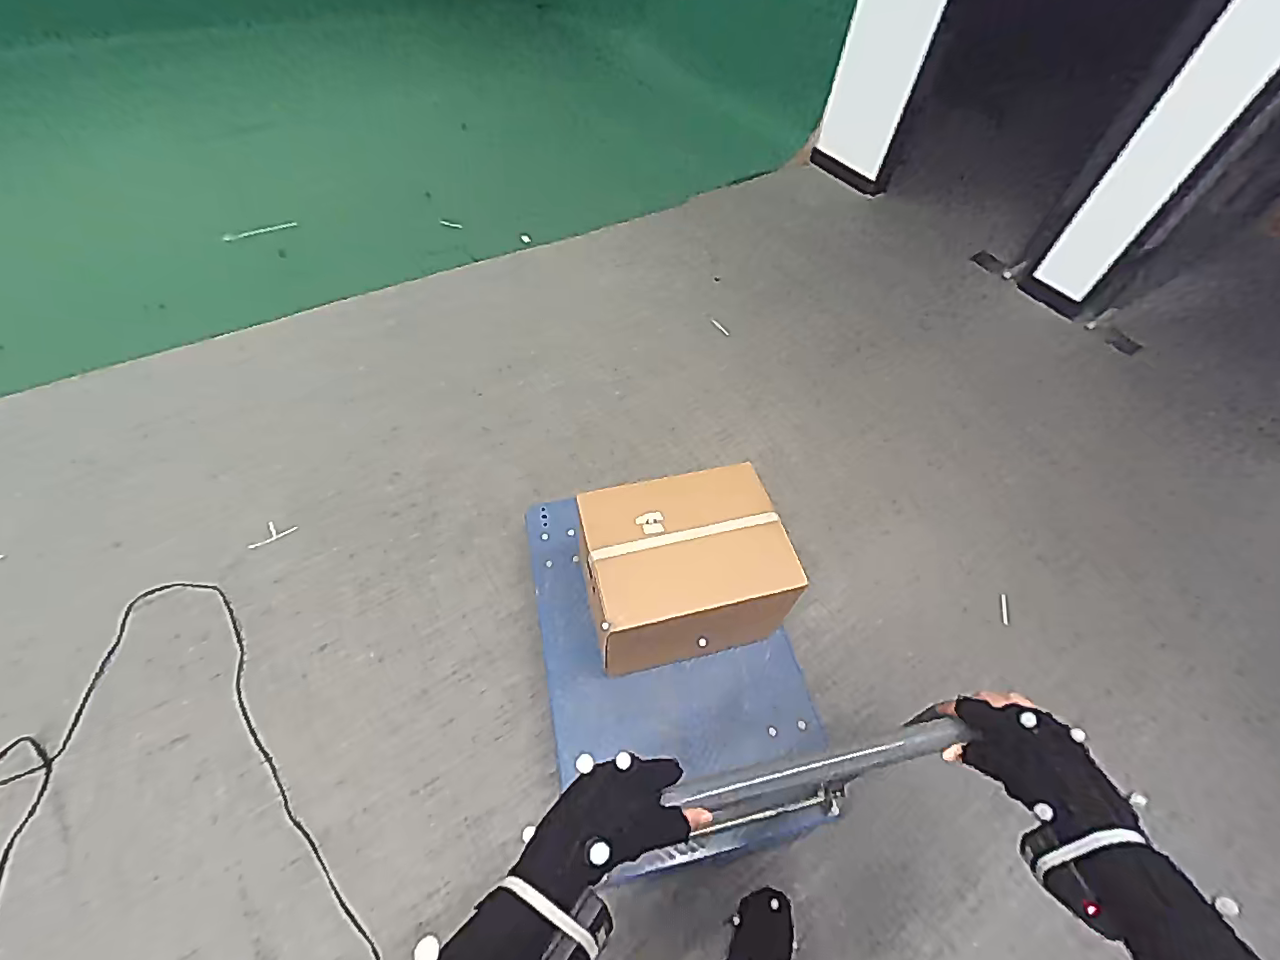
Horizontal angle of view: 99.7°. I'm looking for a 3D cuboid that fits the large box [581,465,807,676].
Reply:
[{"bbox_3d":[0.096,0.209,1.232,0.408,0.320,0.320,-11,55,-11],"label":"large box"}]
